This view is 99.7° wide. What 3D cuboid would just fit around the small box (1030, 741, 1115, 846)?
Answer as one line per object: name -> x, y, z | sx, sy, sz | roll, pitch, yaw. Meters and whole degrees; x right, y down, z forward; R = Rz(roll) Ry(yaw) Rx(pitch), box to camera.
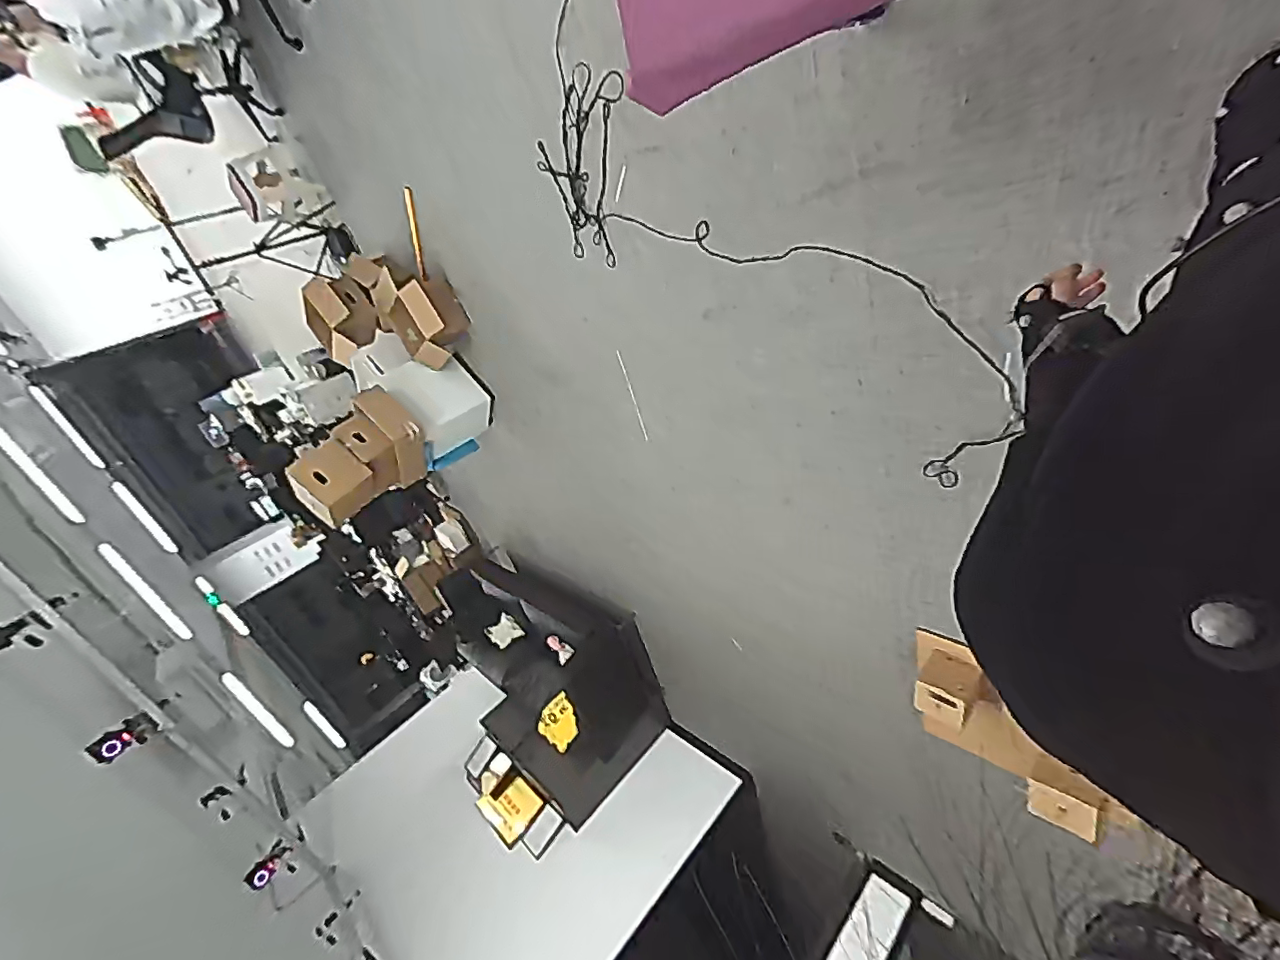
small box -> 1.285, 0.922, 1.606 | 0.168, 0.176, 0.179 | 13, 131, 48
